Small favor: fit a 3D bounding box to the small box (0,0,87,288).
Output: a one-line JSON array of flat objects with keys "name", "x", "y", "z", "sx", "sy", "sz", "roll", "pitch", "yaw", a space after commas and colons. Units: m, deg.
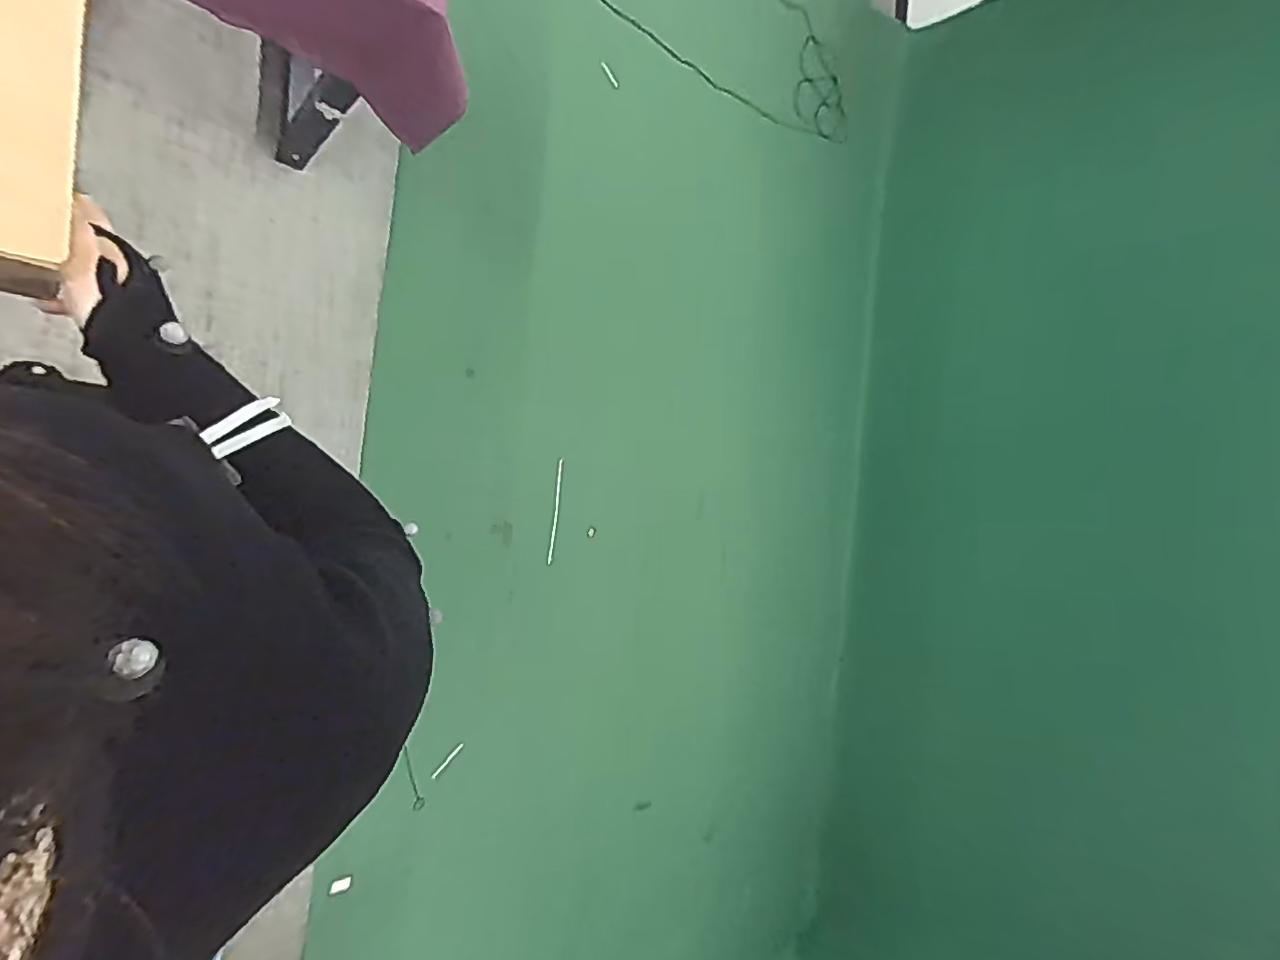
[{"name": "small box", "x": -0.442, "y": -0.223, "z": 0.309, "sx": 0.168, "sy": 0.176, "sz": 0.179, "roll": 3, "pitch": 94, "yaw": -49}]
